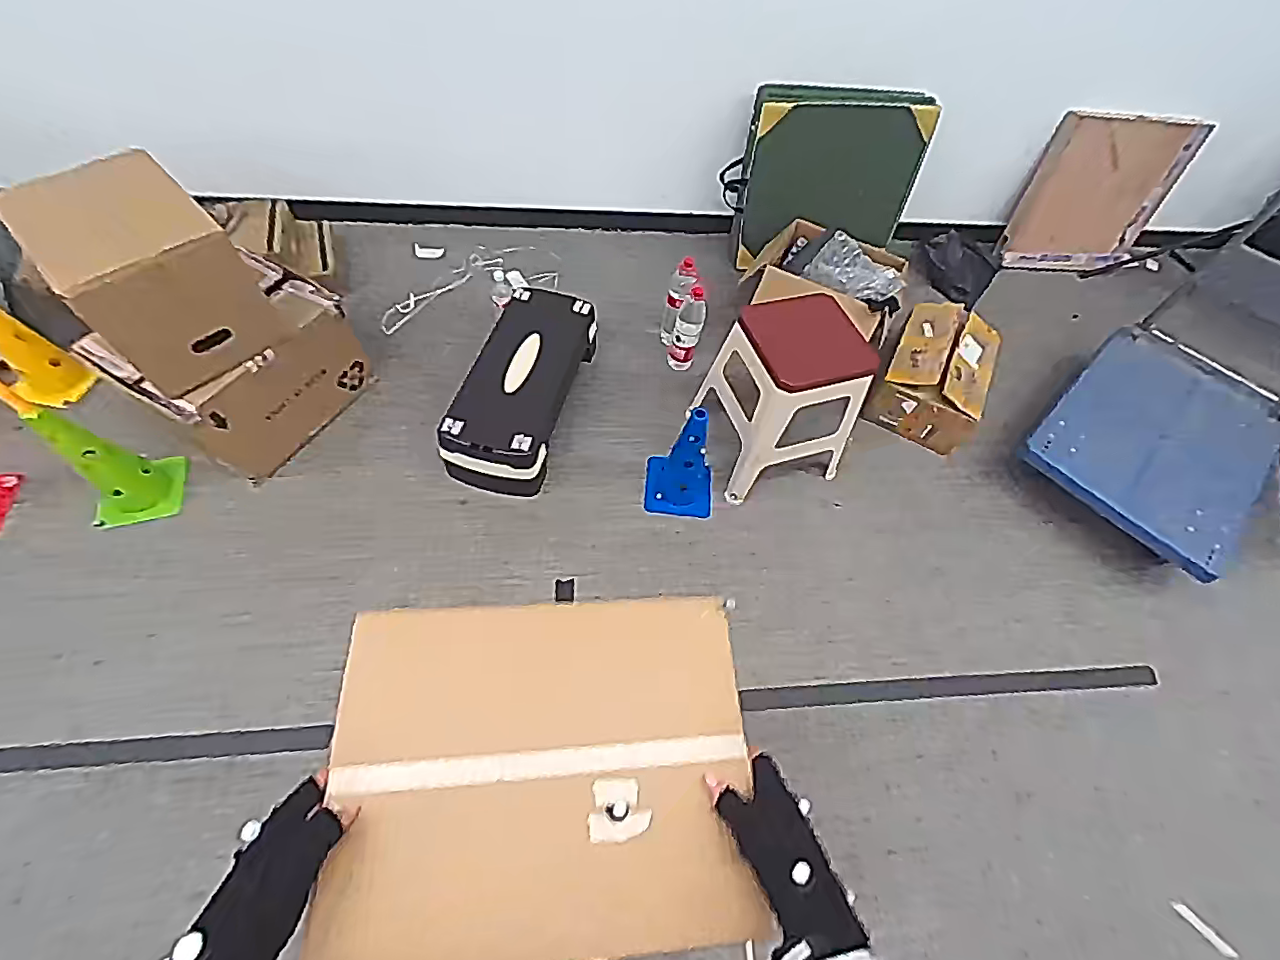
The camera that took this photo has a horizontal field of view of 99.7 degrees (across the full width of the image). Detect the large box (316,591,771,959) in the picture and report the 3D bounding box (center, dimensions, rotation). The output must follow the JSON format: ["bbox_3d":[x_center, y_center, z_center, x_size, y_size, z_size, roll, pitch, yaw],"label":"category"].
[{"bbox_3d":[-0.104,0.339,0.668,0.408,0.320,0.320,0,63,-8],"label":"large box"}]
